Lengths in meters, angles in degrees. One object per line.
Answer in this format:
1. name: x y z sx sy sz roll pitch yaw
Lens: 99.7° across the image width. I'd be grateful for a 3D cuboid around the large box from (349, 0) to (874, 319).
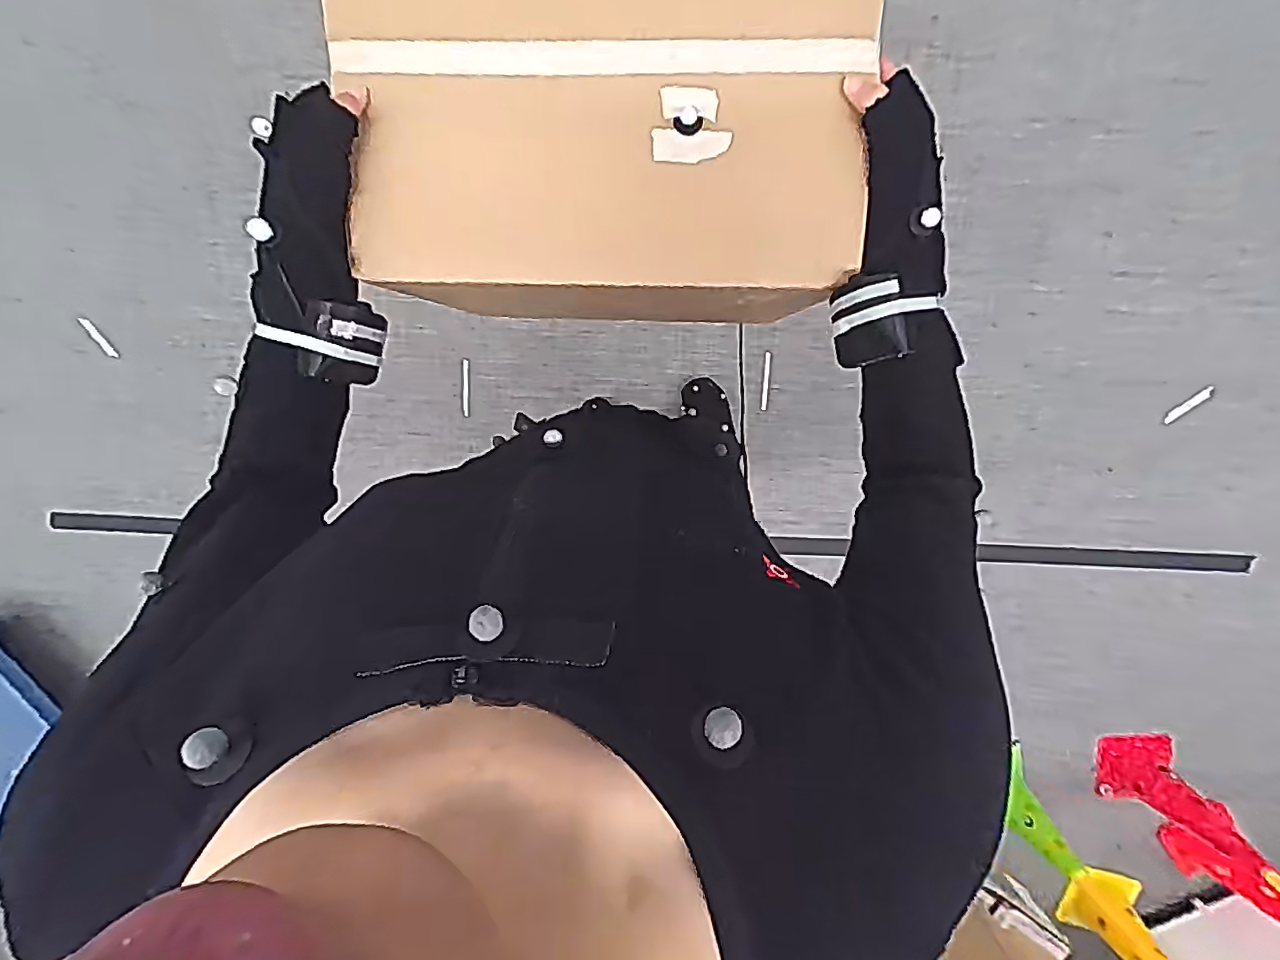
1. large box: -0.022 -0.344 0.560 0.408 0.320 0.320 1 101 1
